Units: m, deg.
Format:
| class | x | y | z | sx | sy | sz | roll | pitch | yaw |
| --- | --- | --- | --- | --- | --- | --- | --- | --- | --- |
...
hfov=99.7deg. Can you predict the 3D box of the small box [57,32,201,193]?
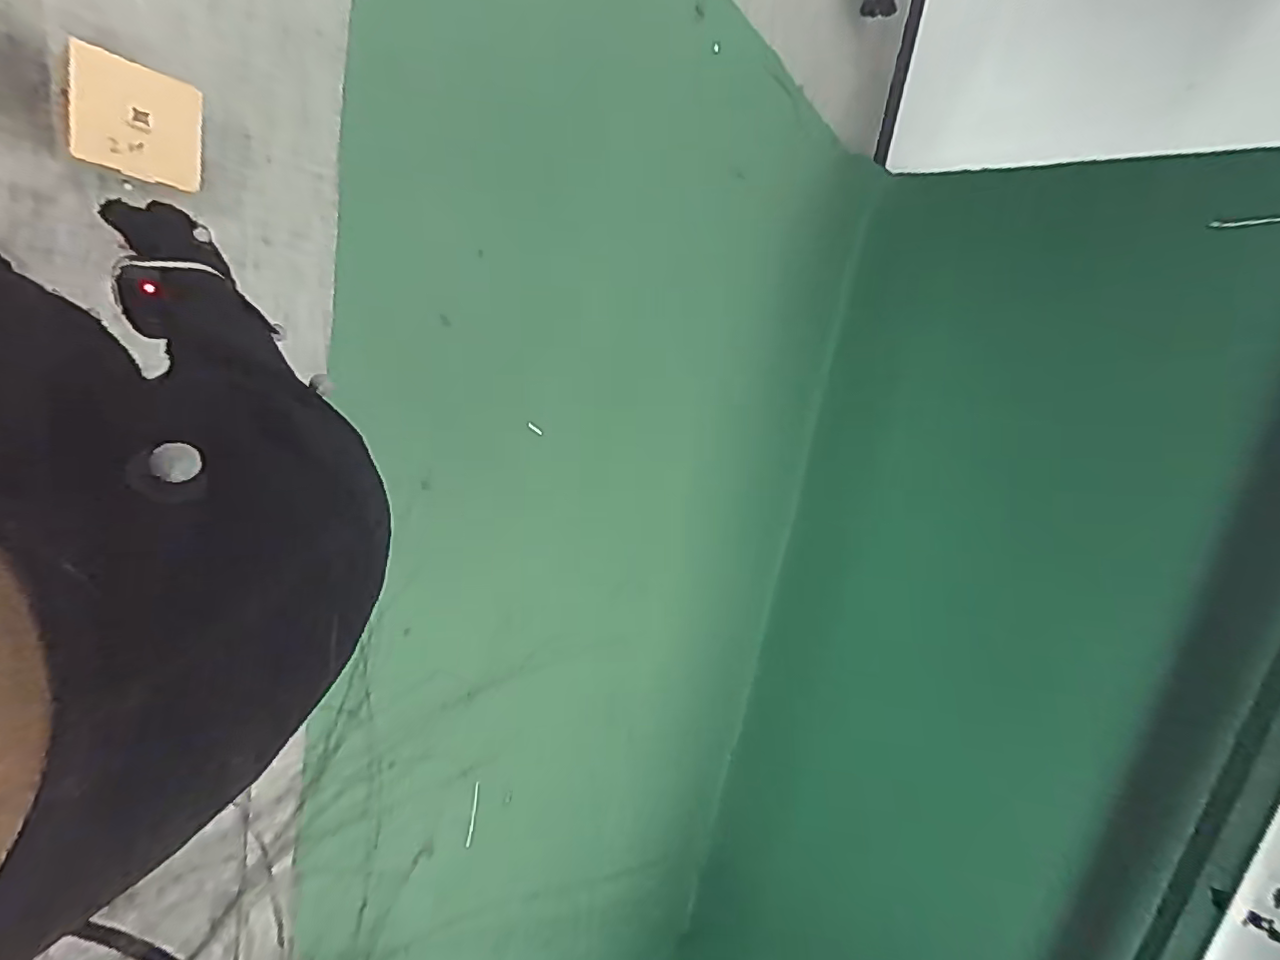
| class | x | y | z | sx | sy | sz | roll | pitch | yaw |
| --- | --- | --- | --- | --- | --- | --- | --- | --- | --- |
| small box | -0.908 | -0.635 | 0.960 | 0.168 | 0.176 | 0.179 | -1 | 107 | -50 |
